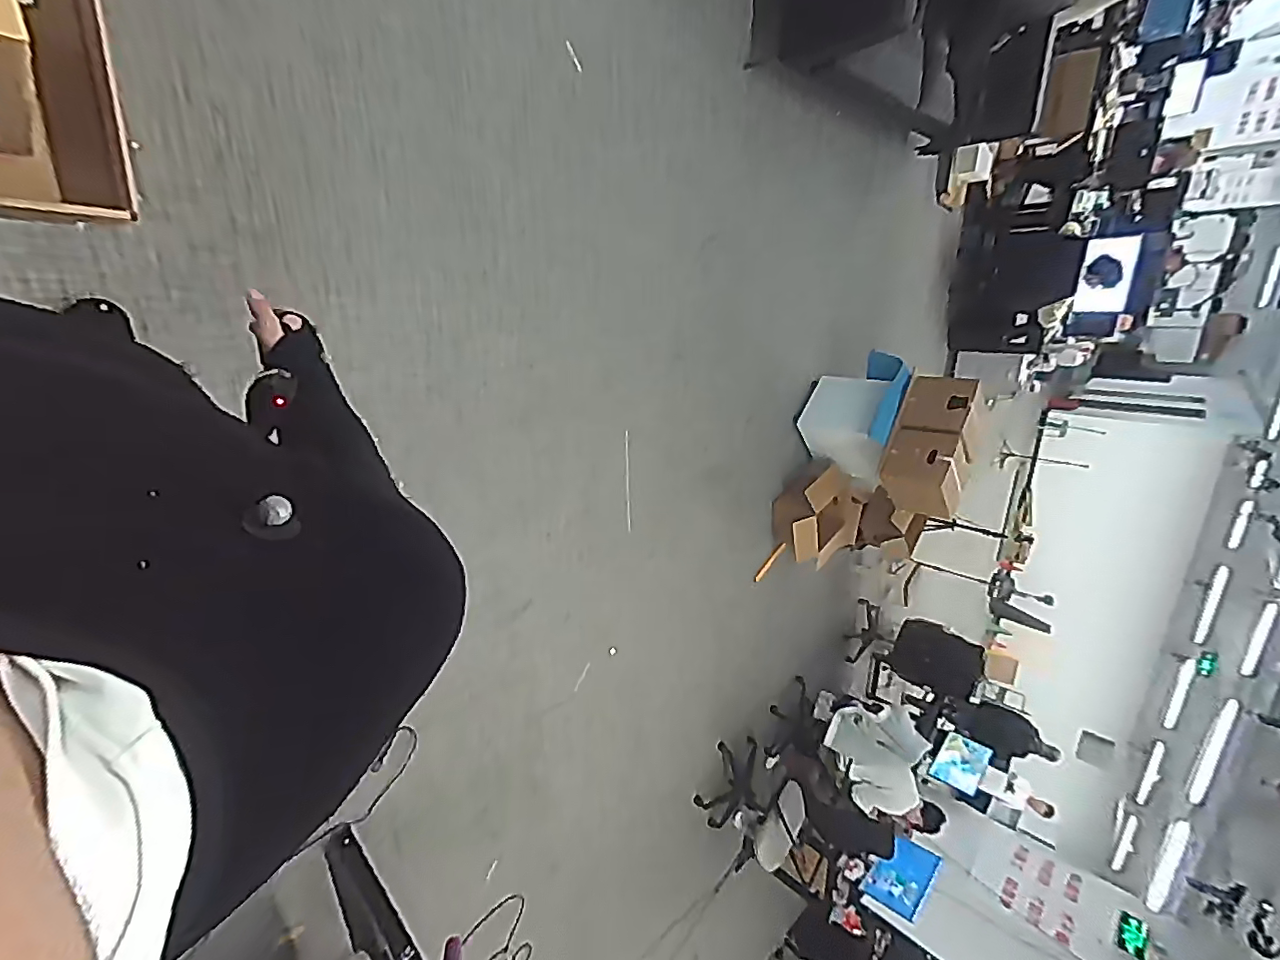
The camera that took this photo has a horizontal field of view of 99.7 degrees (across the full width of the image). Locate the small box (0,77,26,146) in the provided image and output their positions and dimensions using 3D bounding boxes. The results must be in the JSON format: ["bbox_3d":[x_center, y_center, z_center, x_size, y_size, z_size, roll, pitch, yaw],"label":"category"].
[{"bbox_3d":[-0.876,-0.514,0.636,0.179,0.176,0.168,-16,113,-45],"label":"small box"}]

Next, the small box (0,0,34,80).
[{"bbox_3d":[-0.635,-0.447,0.427,0.179,0.176,0.168,-19,116,-43],"label":"small box"}]
